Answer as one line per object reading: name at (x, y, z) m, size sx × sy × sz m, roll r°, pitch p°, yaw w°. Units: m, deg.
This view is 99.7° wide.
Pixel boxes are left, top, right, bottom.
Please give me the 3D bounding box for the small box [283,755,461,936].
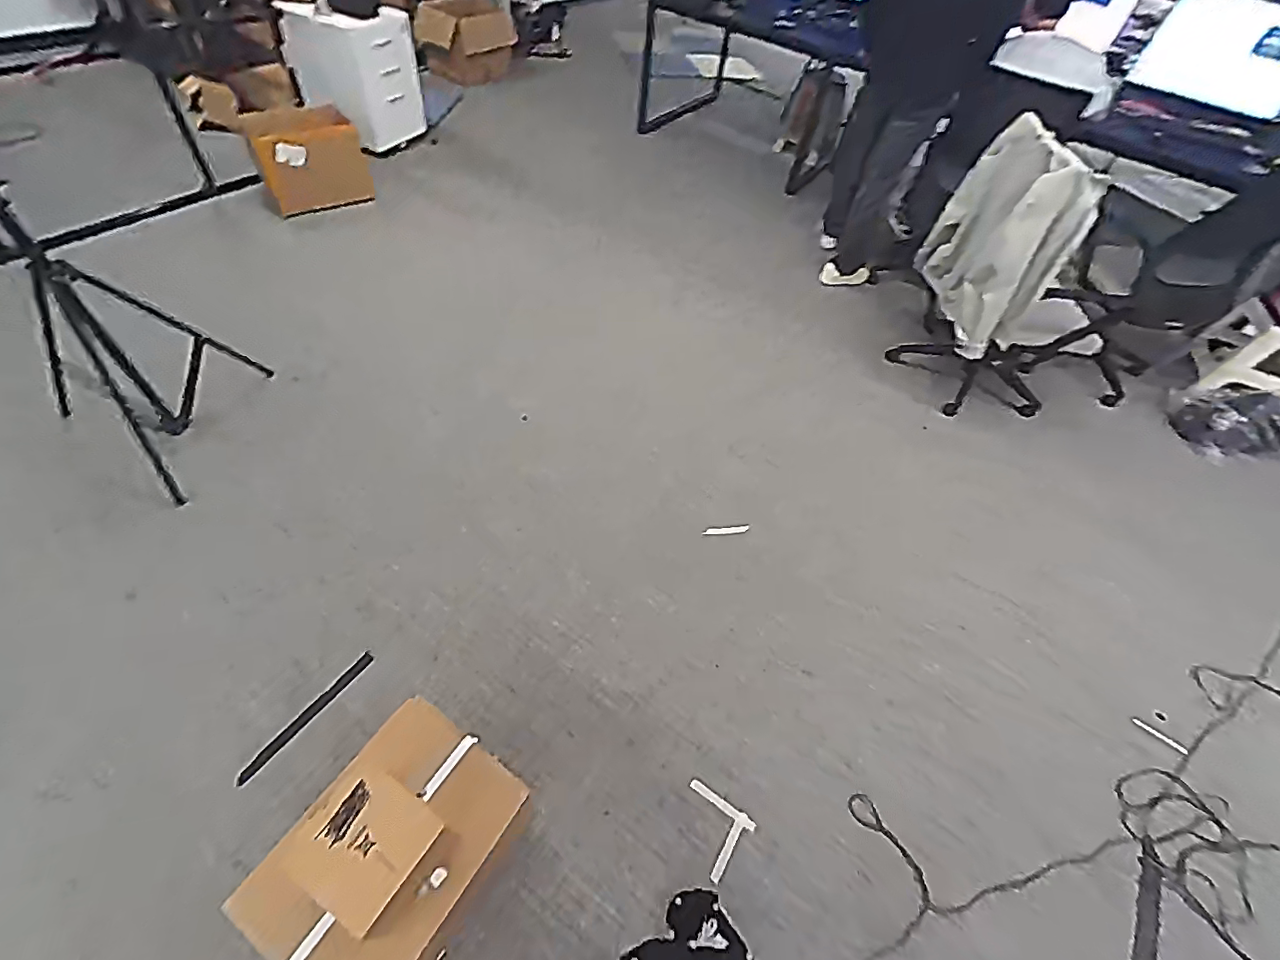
small box at (-0.415, 0.584, 0.867) m, size 0.179 × 0.176 × 0.168 m, roll 30°, pitch 55°, yaw 14°
